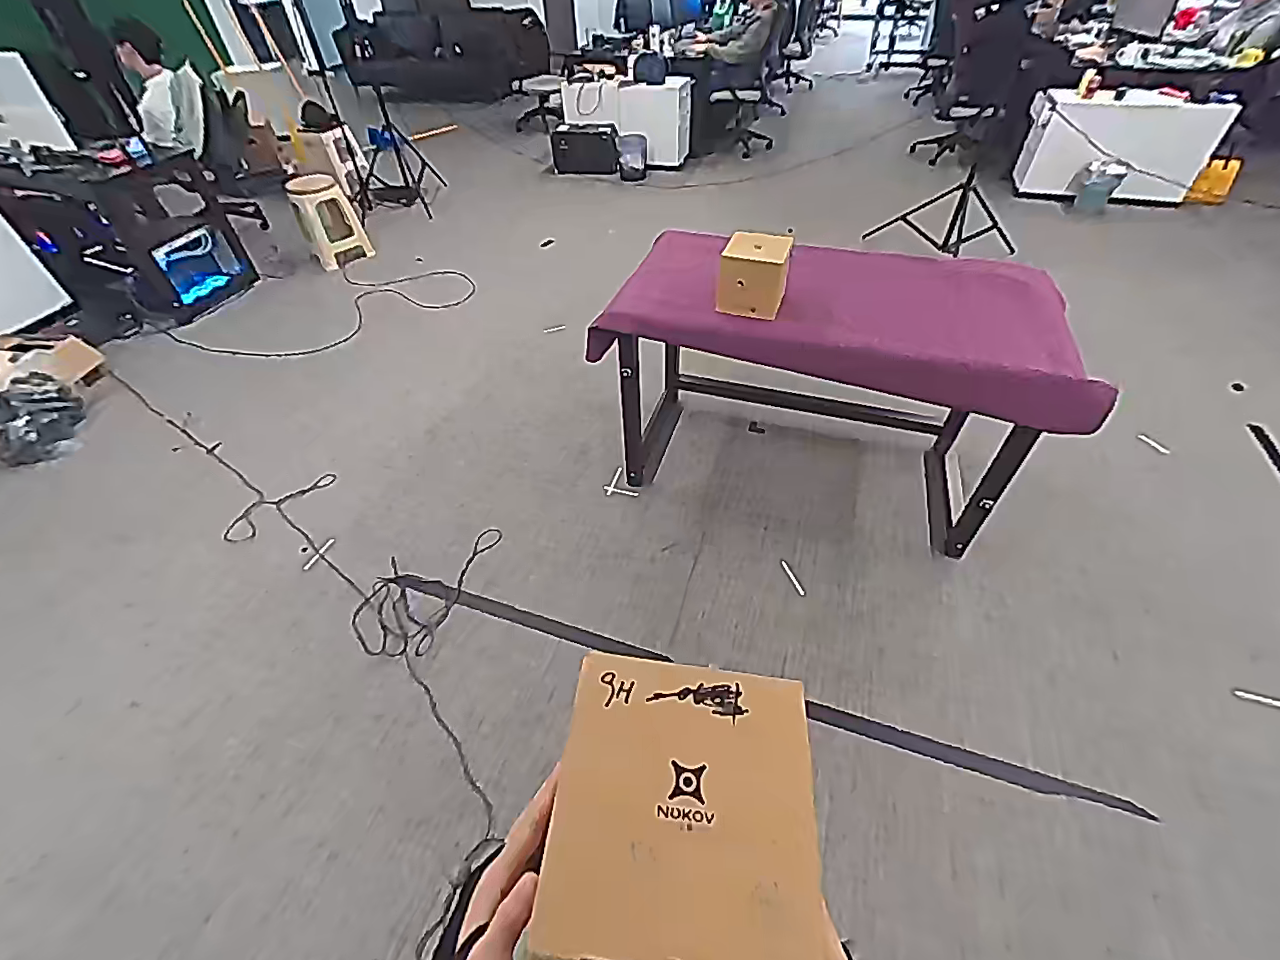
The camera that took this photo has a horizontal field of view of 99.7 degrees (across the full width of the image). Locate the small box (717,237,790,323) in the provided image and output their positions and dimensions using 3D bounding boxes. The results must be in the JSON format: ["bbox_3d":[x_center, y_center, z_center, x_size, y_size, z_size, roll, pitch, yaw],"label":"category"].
[{"bbox_3d":[0.316,-0.562,1.523,0.168,0.176,0.179,14,47,14],"label":"small box"}]

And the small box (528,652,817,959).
[{"bbox_3d":[0.025,0.257,0.411,0.168,0.176,0.179,7,49,2],"label":"small box"}]
